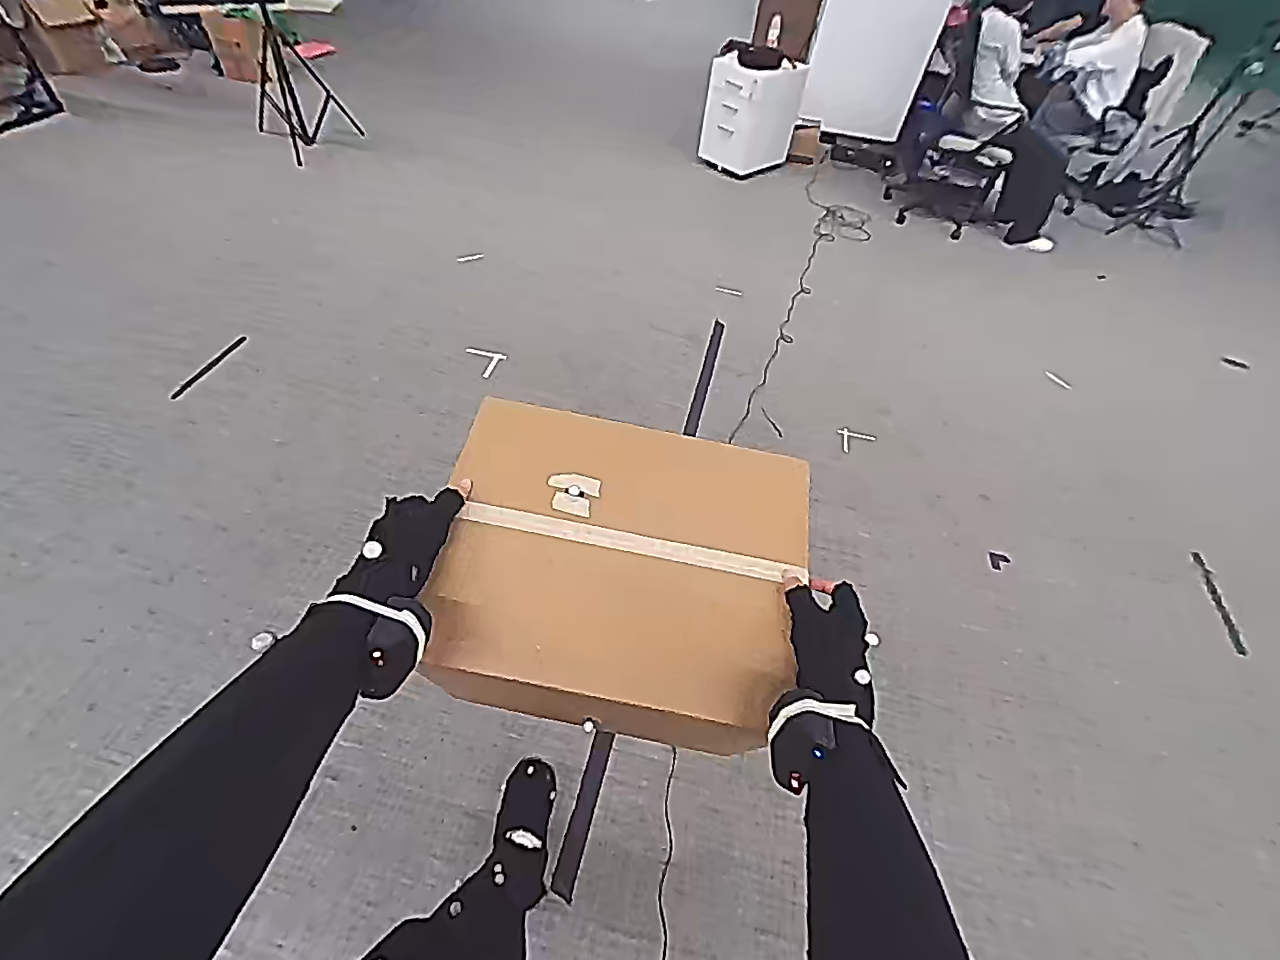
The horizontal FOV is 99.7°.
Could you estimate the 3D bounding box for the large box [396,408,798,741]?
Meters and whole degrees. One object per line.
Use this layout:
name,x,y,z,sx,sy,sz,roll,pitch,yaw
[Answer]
large box,-0.031,0.145,0.728,0.408,0.320,0.320,11,59,1
